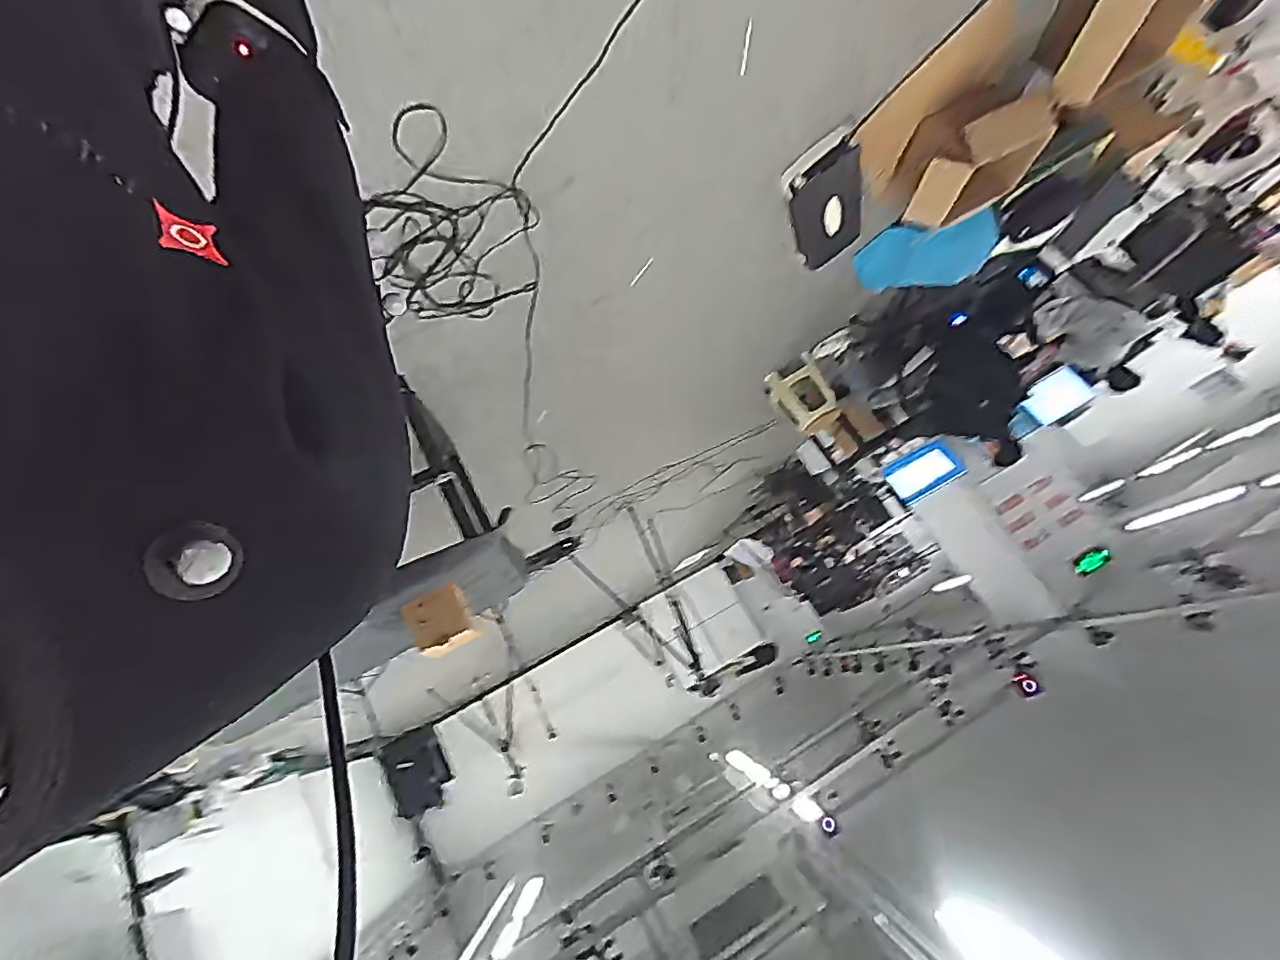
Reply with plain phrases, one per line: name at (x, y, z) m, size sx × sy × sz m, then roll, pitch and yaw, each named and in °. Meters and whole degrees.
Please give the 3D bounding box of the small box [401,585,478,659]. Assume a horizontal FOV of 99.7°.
small box at (-0.645, 0.455, 1.741) m, size 0.168 × 0.176 × 0.179 m, roll -25°, pitch 163°, yaw -14°
